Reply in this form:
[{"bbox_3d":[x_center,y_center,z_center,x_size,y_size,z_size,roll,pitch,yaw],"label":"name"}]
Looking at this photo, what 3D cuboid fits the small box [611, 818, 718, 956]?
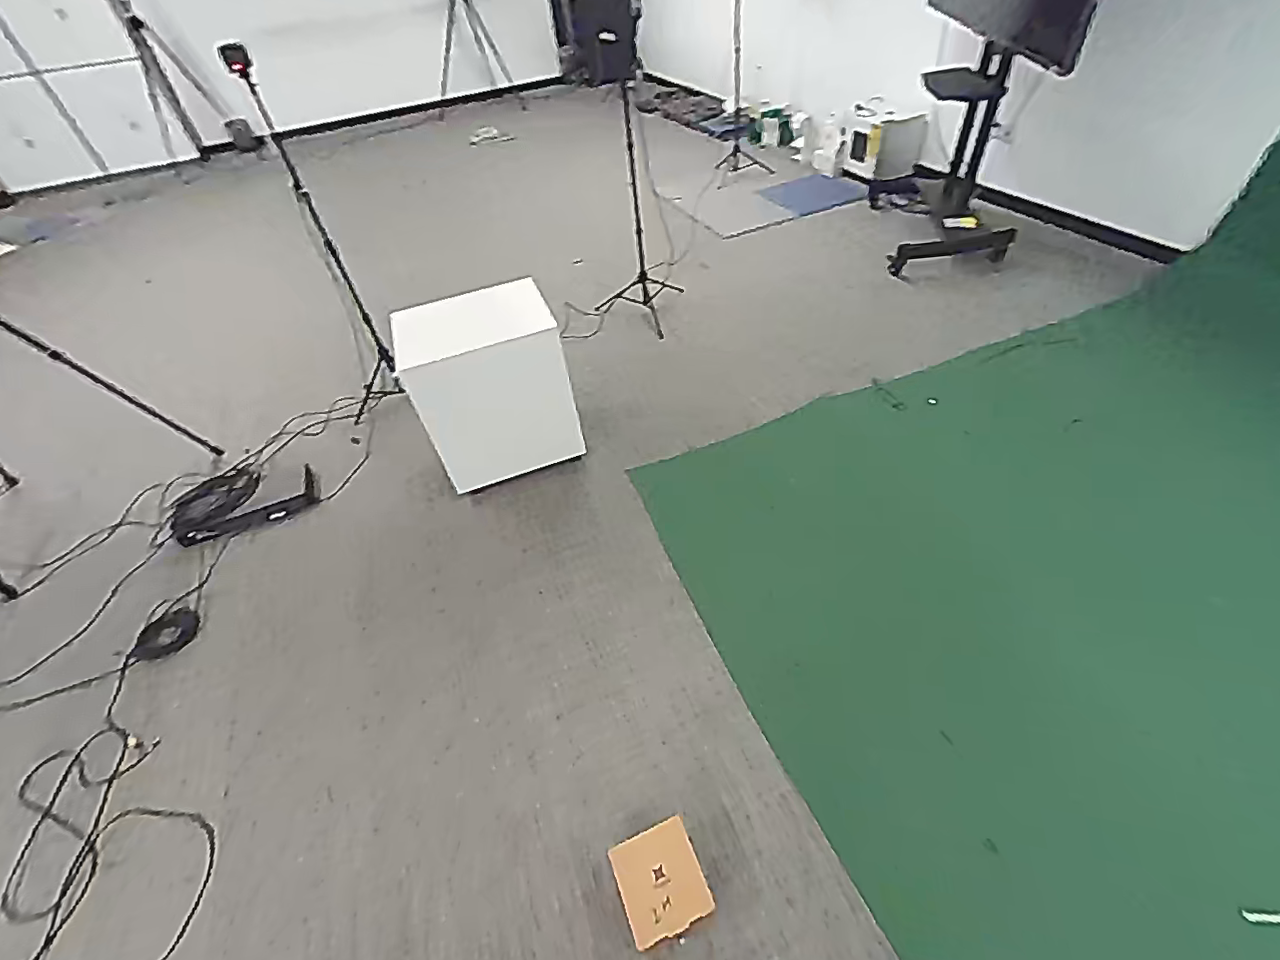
[{"bbox_3d":[0.051,0.856,1.136,0.168,0.176,0.179,-20,47,-11],"label":"small box"}]
